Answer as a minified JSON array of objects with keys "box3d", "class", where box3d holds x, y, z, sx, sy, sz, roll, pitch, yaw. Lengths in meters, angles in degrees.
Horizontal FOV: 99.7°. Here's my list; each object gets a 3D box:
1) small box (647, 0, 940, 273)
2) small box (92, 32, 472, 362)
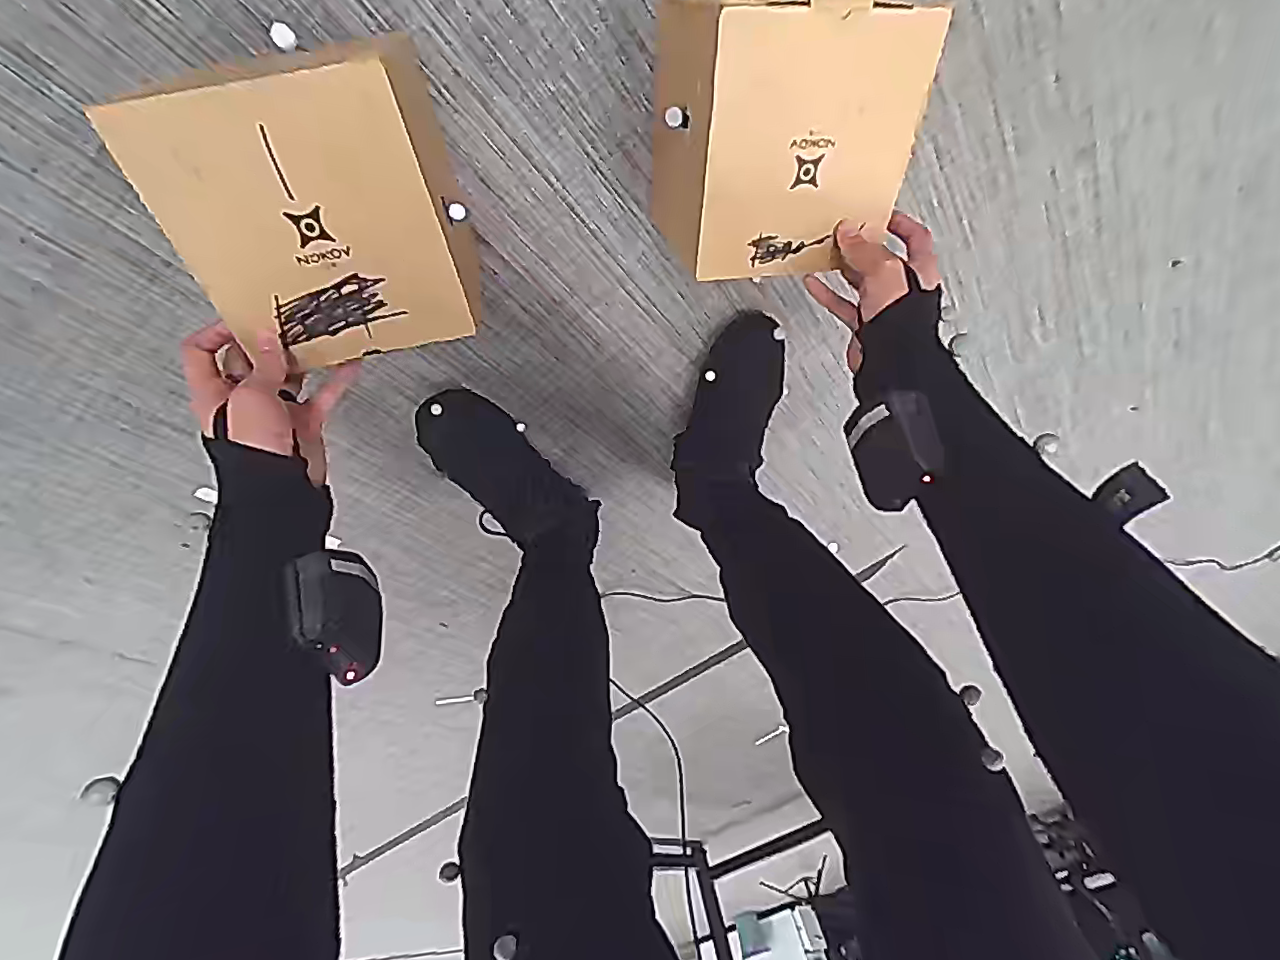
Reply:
[{"box3d":[0.104,-0.297,0.461,0.168,0.176,0.179,-7,132,-10],"class":"small box"},{"box3d":[-0.237,-0.223,0.424,0.168,0.176,0.179,-14,134,-5],"class":"small box"}]
